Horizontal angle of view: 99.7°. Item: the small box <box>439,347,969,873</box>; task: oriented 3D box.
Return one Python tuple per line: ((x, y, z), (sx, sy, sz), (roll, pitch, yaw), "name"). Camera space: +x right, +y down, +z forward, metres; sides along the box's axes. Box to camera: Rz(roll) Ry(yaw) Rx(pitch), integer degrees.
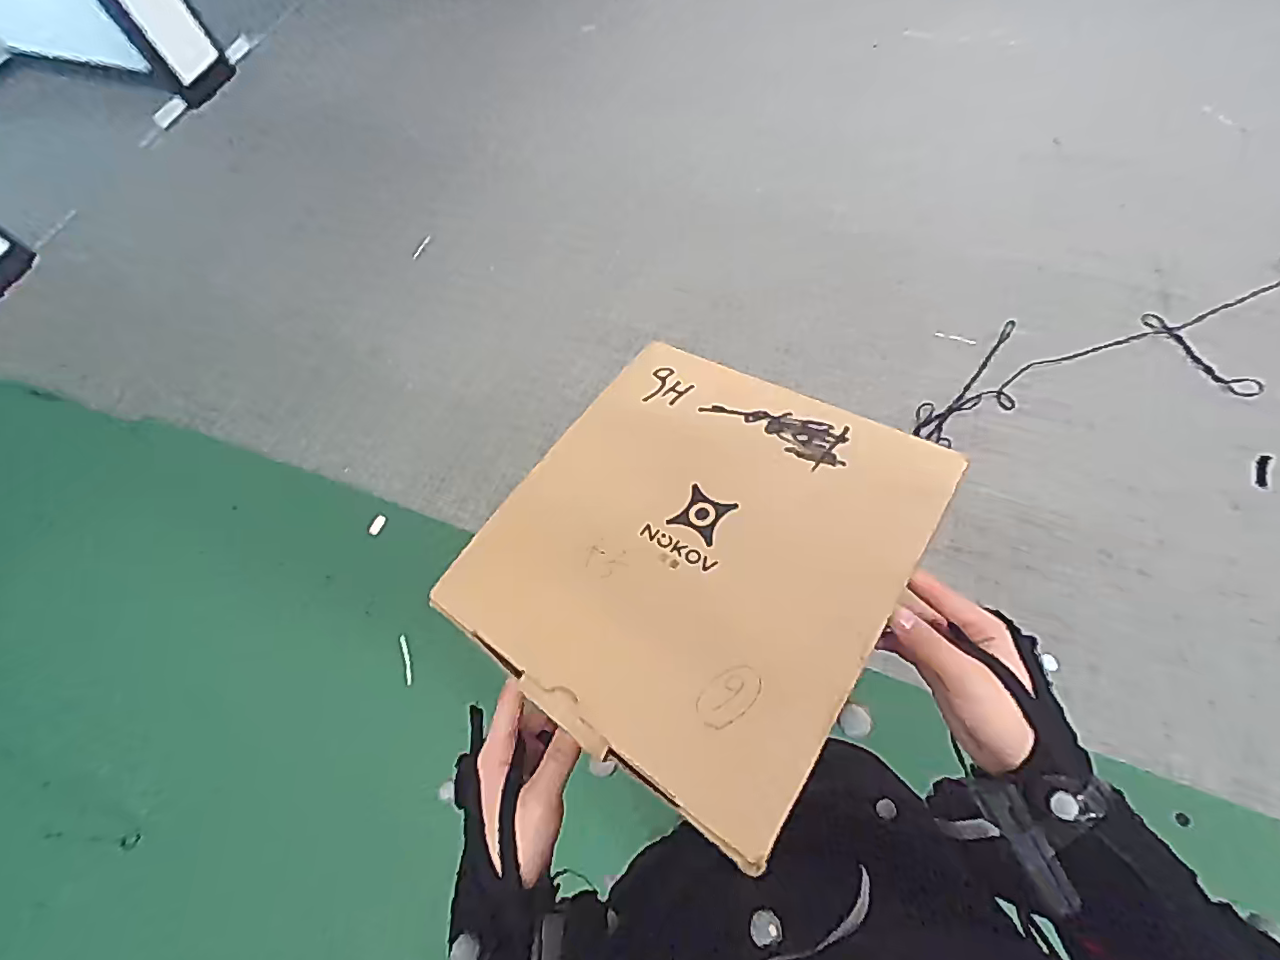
((0.039, 0.067, 0.294), (0.168, 0.176, 0.179), (28, 68, 28), "small box")
